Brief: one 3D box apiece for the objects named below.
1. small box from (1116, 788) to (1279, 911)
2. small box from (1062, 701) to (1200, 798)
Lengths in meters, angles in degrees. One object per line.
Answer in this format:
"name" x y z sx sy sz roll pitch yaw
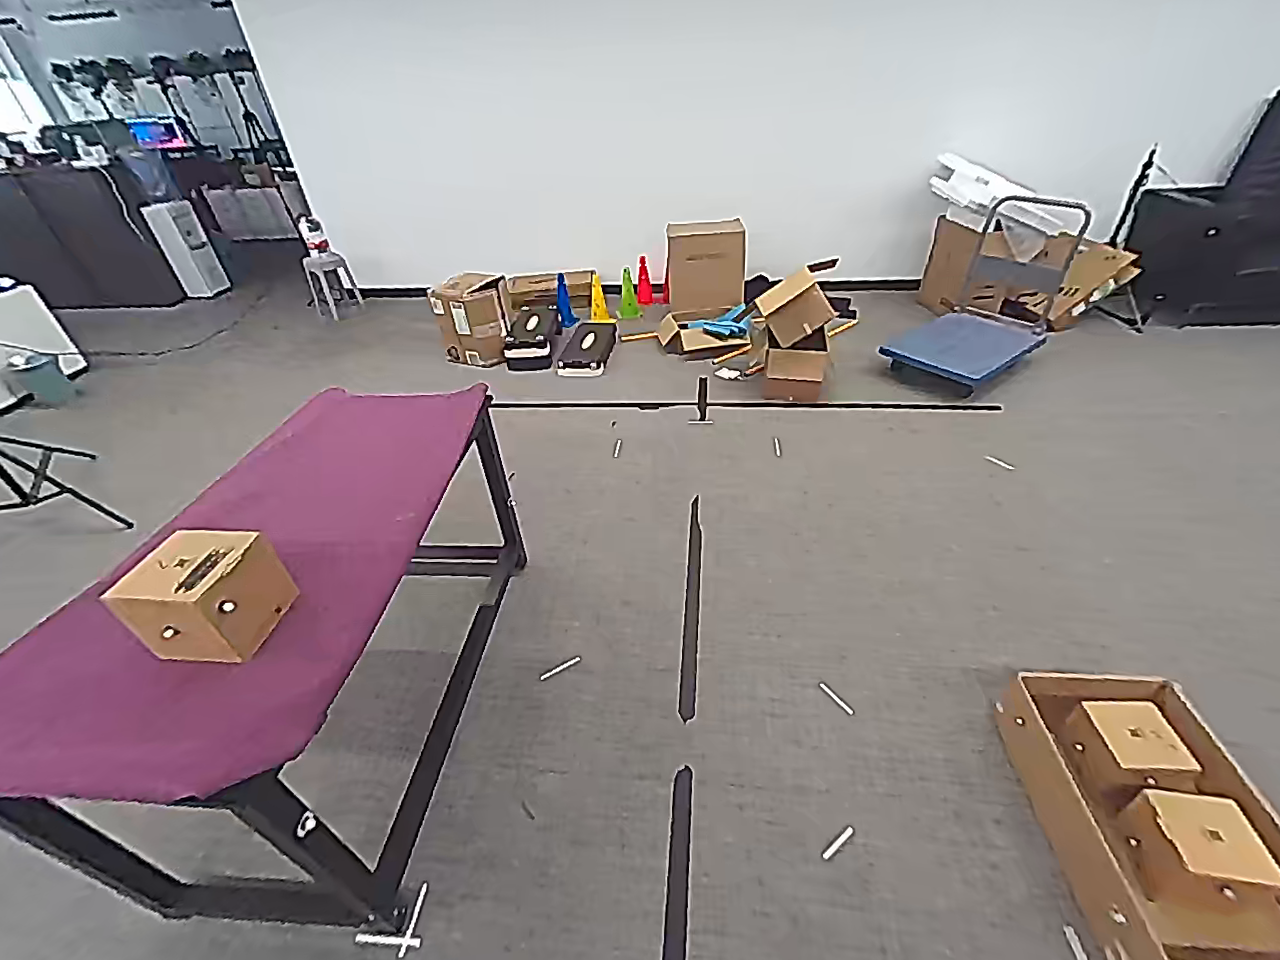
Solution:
"small box" 1.206 0.806 1.176 0.179 0.176 0.168 3 37 10
"small box" 1.203 0.672 1.348 0.179 0.176 0.168 -1 39 4
